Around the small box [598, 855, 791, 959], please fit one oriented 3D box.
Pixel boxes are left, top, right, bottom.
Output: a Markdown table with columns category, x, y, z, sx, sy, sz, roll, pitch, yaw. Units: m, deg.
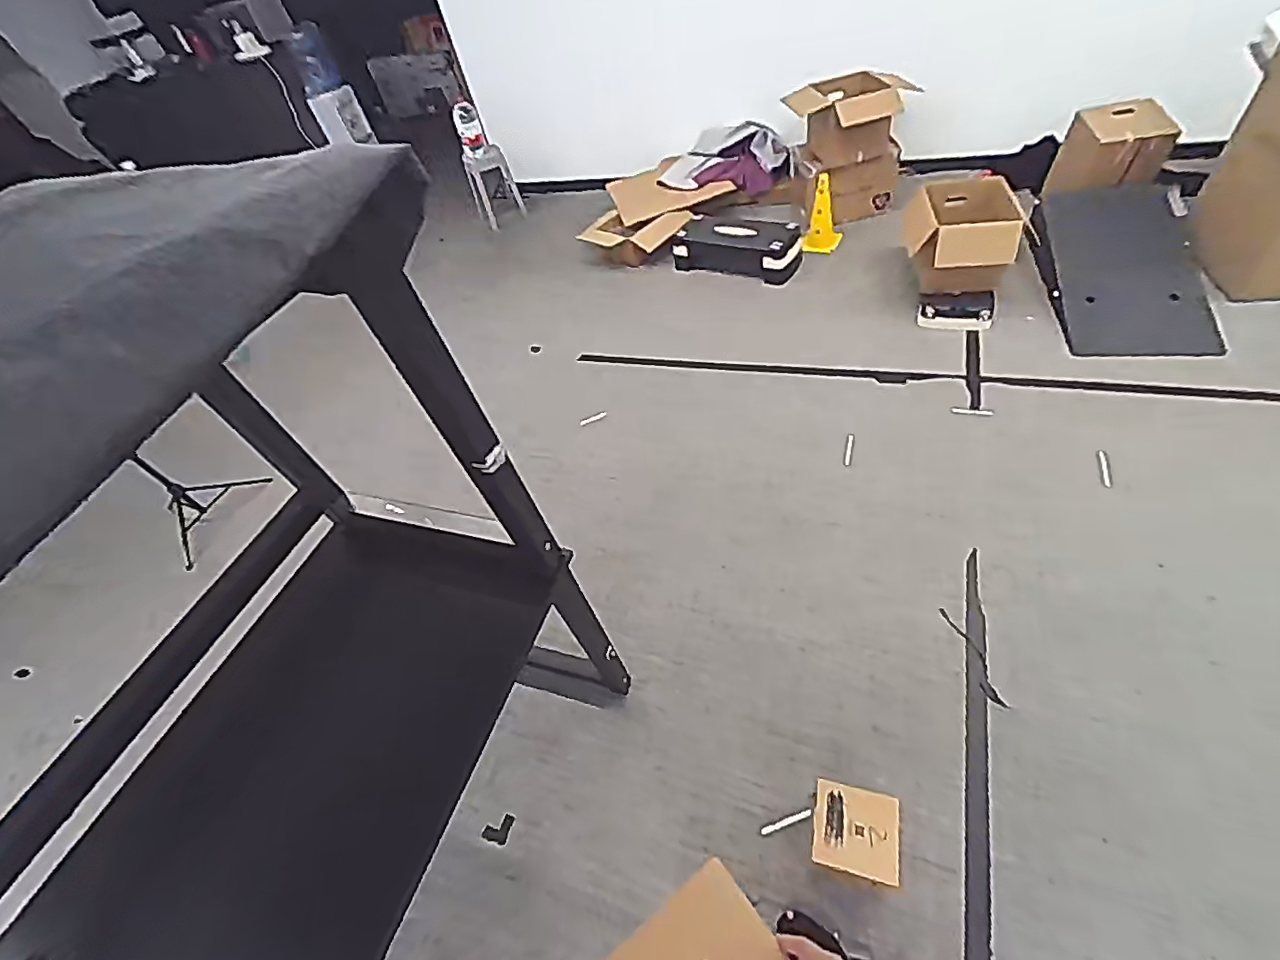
| category | x | y | z | sx | sy | sz | roll | pitch | yaw |
| --- | --- | --- | --- | --- | --- | --- | --- | --- | --- |
| small box | 0.081 | 0.558 | 0.565 | 0.168 | 0.176 | 0.179 | -29 | 36 | -20 |
